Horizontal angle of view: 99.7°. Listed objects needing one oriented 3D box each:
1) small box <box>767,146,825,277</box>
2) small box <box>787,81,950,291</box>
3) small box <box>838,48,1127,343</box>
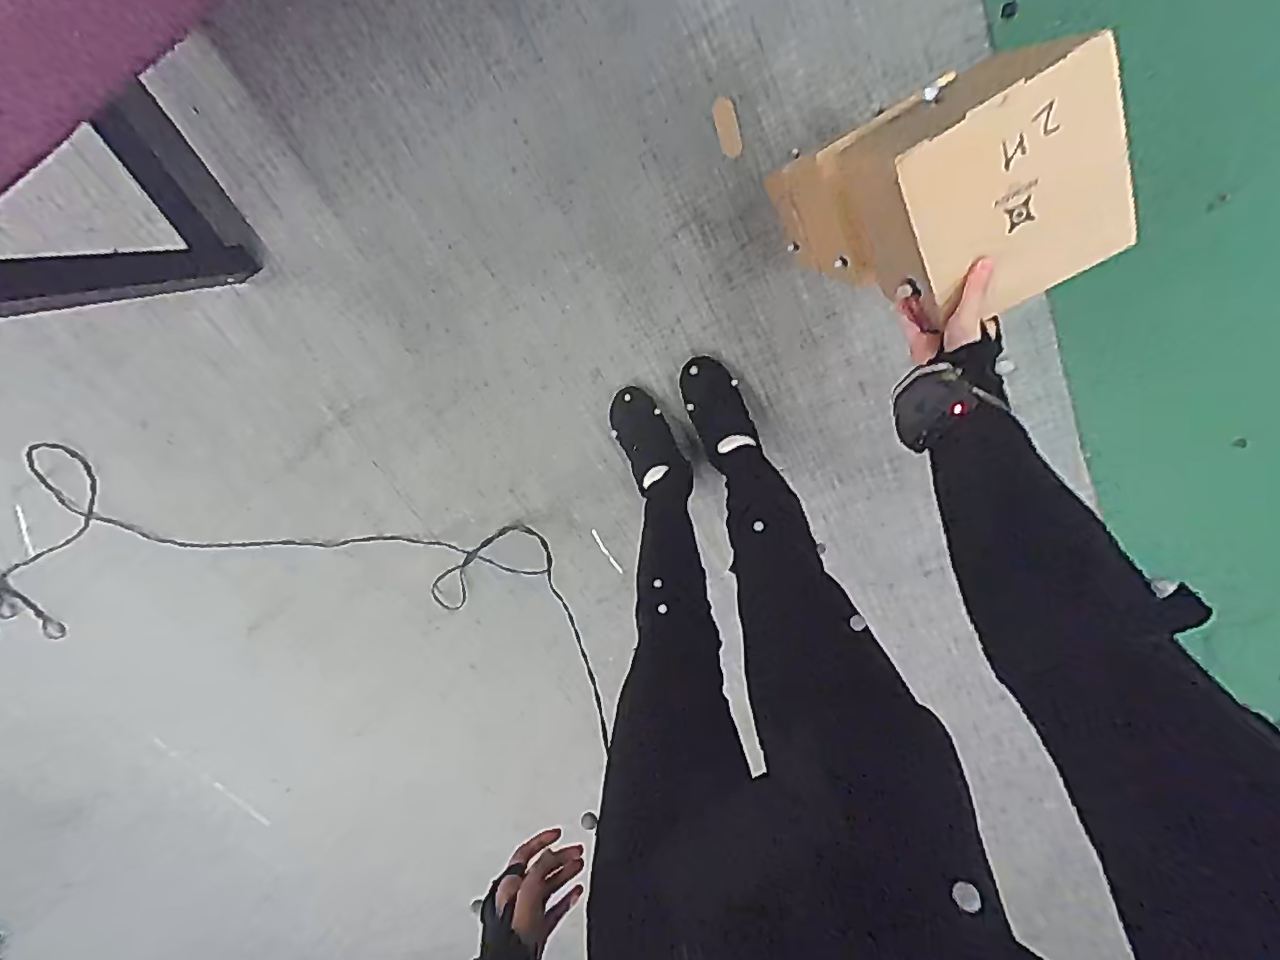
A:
[{"bbox_3d":[0.315,-0.448,0.871,0.179,0.176,0.168,-24,112,12],"label":"small box"},{"bbox_3d":[0.316,-0.379,0.725,0.168,0.176,0.179,-26,113,13],"label":"small box"},{"bbox_3d":[0.319,-0.270,0.527,0.168,0.176,0.179,-26,119,16],"label":"small box"}]
